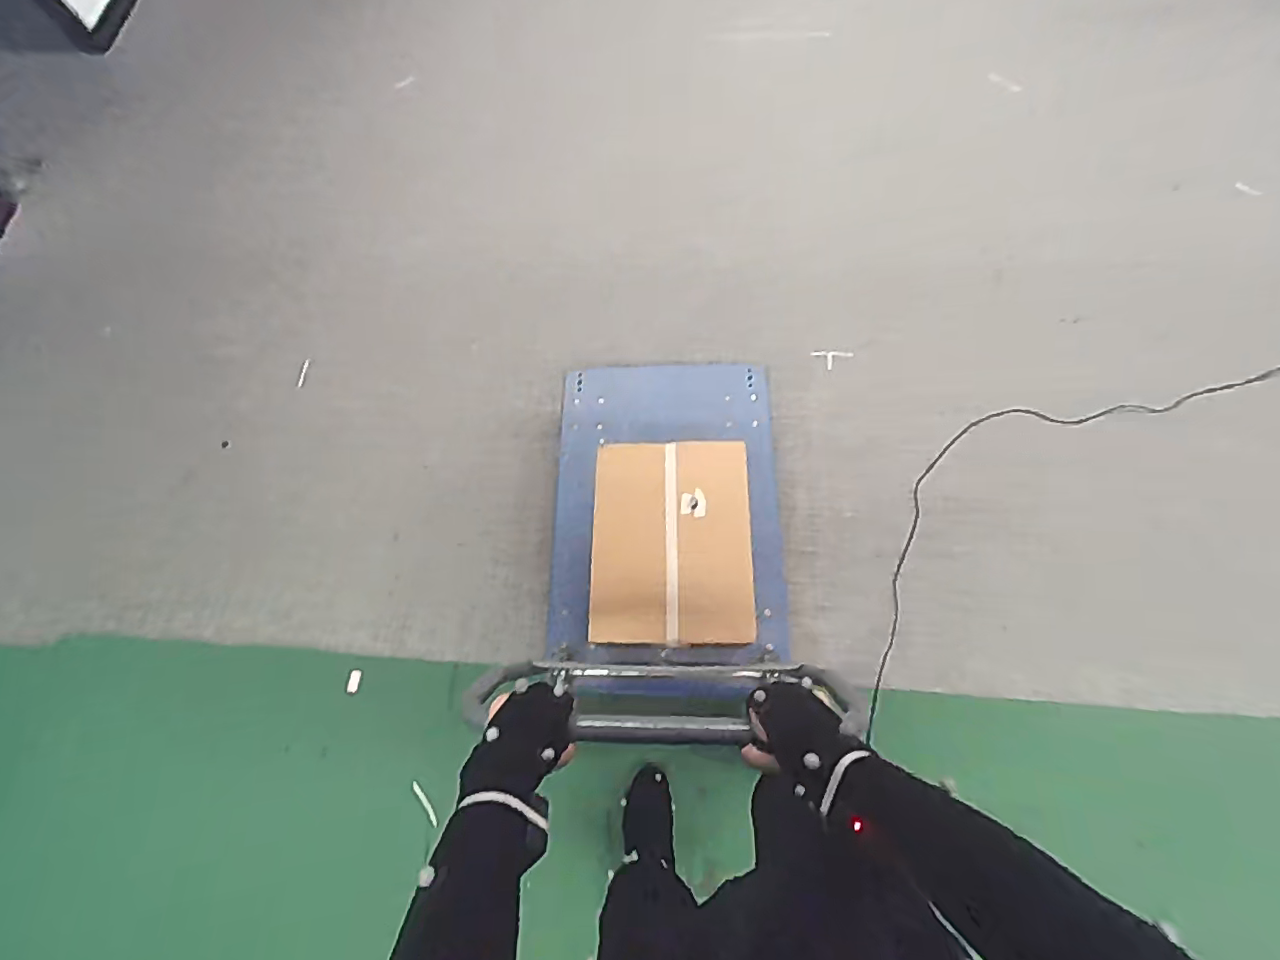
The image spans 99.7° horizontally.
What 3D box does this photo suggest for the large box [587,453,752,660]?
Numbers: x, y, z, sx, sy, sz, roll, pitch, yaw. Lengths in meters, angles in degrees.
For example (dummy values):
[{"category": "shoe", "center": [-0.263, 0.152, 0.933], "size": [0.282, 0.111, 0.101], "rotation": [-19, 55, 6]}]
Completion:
[{"category": "large box", "center": [0.065, 0.186, 1.212], "size": [0.320, 0.320, 0.408], "rotation": [-1, 69, 4]}]
